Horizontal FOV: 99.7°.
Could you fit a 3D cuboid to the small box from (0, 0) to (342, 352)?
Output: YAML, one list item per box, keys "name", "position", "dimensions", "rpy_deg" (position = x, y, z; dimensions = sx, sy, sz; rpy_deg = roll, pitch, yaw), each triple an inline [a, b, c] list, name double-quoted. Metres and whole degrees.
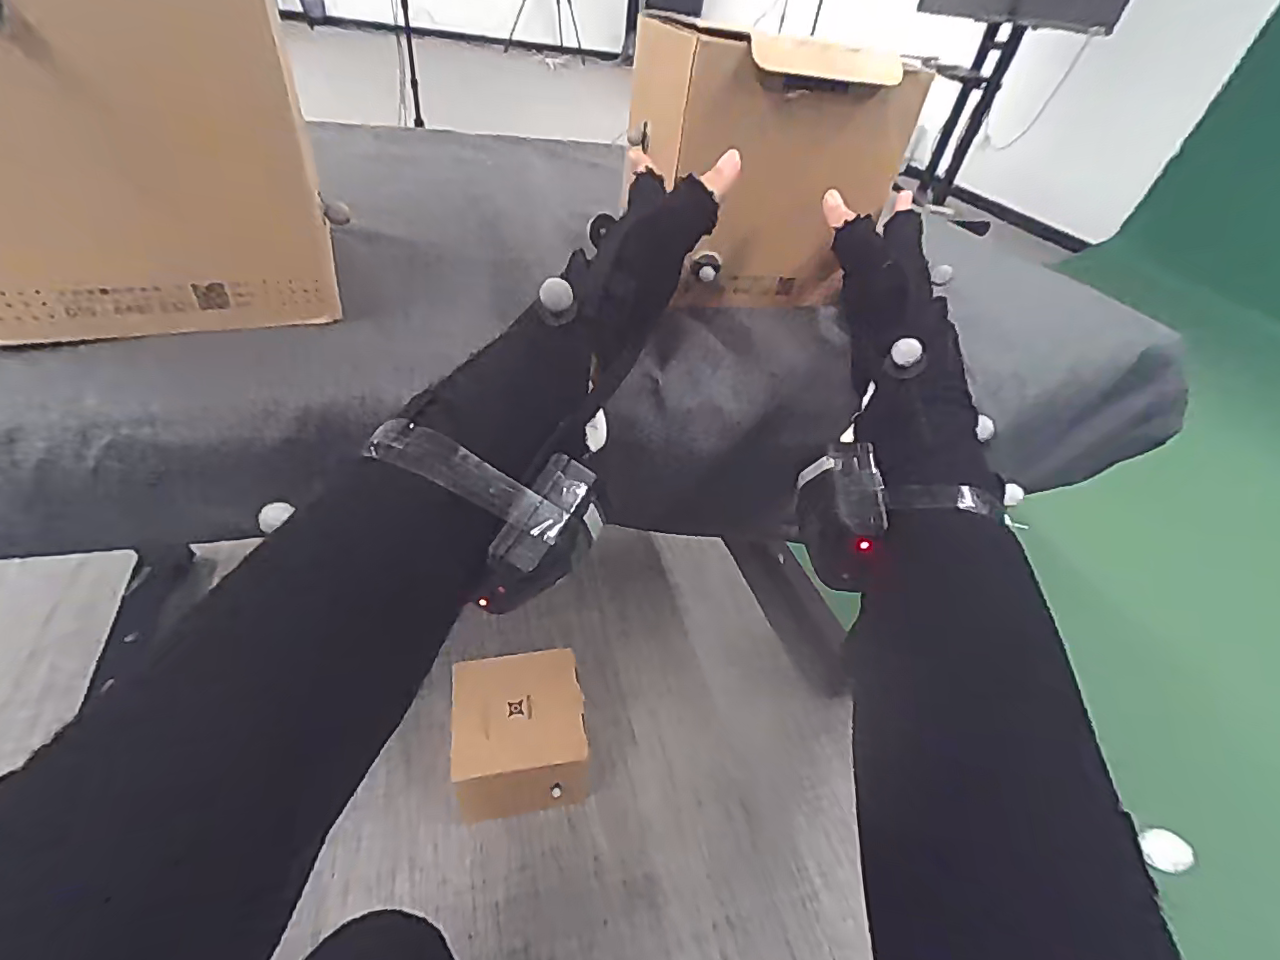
- name: "small box"
  position: [-0.284, -0.191, 0.310]
  dimensions: [0.168, 0.176, 0.179]
  rpy_deg: [-13, 45, -23]

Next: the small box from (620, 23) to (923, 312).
- name: "small box"
  position: [0.082, -0.251, 0.444]
  dimensions: [0.168, 0.176, 0.179]
  rpy_deg: [-2, 42, -13]
